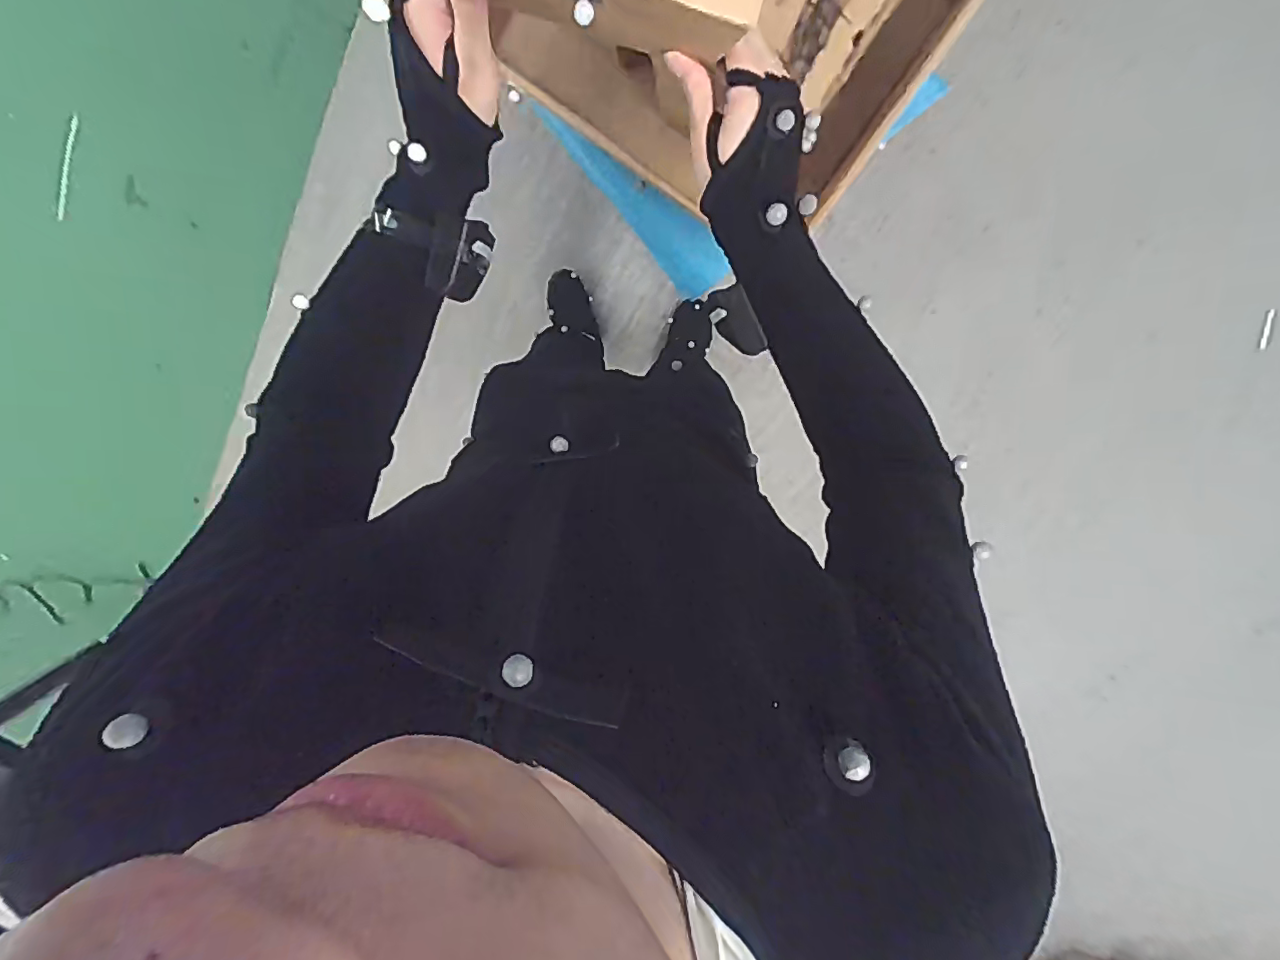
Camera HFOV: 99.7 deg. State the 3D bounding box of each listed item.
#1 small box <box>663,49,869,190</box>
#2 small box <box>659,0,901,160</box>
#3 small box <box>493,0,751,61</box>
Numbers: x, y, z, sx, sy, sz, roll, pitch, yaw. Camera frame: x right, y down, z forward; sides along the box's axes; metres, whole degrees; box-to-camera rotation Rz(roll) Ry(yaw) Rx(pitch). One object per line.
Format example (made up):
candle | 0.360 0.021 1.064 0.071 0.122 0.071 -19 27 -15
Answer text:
small box | 0.150 -0.493 0.673 0.179 0.176 0.168 35 110 -5
small box | 0.131 -0.440 0.519 0.179 0.176 0.168 34 110 -4
small box | -0.013 -0.359 0.293 0.179 0.176 0.168 11 119 -10
